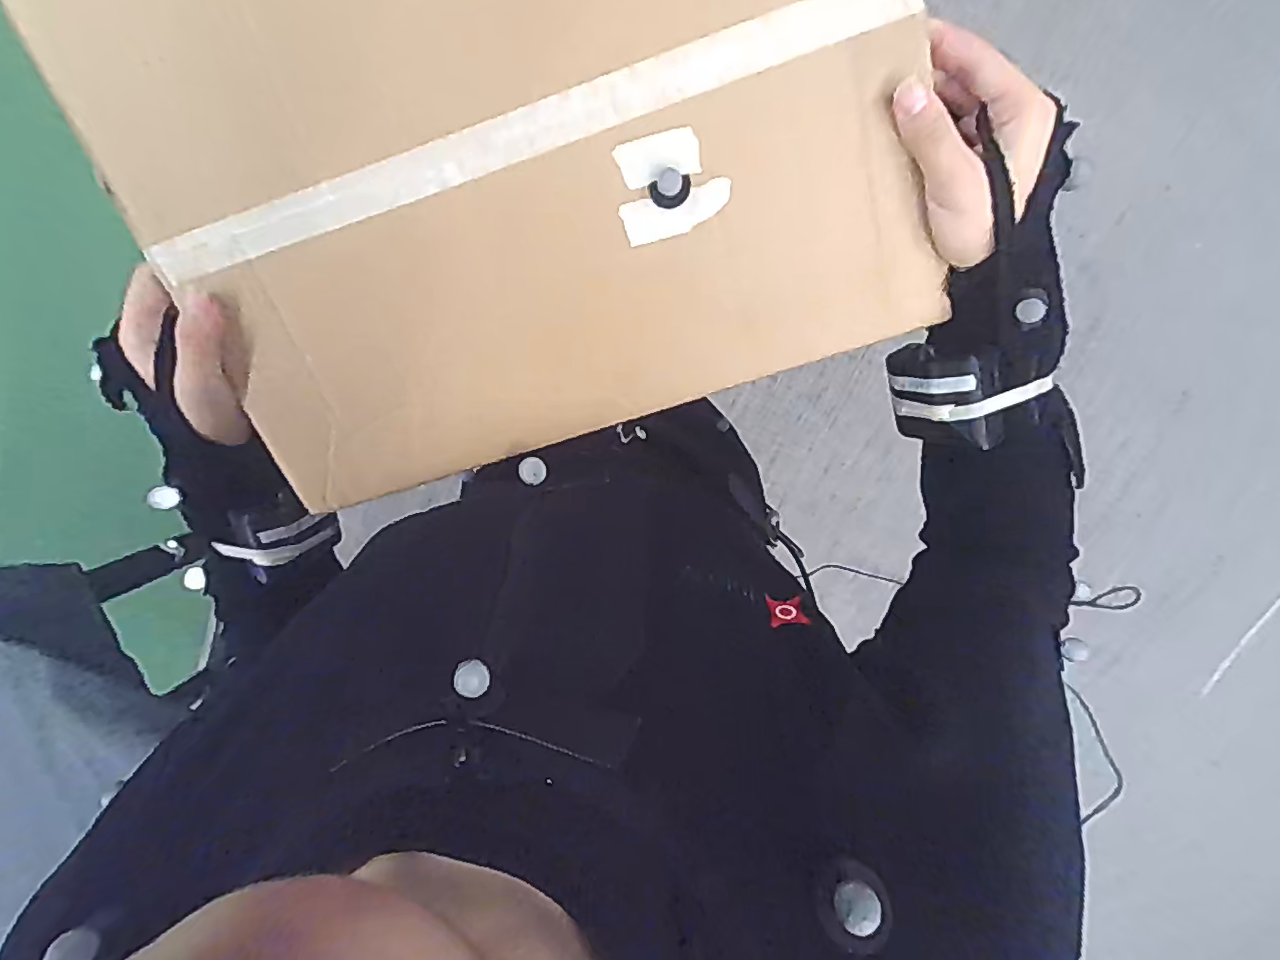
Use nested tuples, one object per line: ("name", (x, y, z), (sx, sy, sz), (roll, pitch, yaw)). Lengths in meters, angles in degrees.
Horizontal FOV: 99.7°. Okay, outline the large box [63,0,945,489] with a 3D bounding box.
("large box", (-0.059, -0.237, 0.422), (0.408, 0.320, 0.320), (-17, 111, 4))
